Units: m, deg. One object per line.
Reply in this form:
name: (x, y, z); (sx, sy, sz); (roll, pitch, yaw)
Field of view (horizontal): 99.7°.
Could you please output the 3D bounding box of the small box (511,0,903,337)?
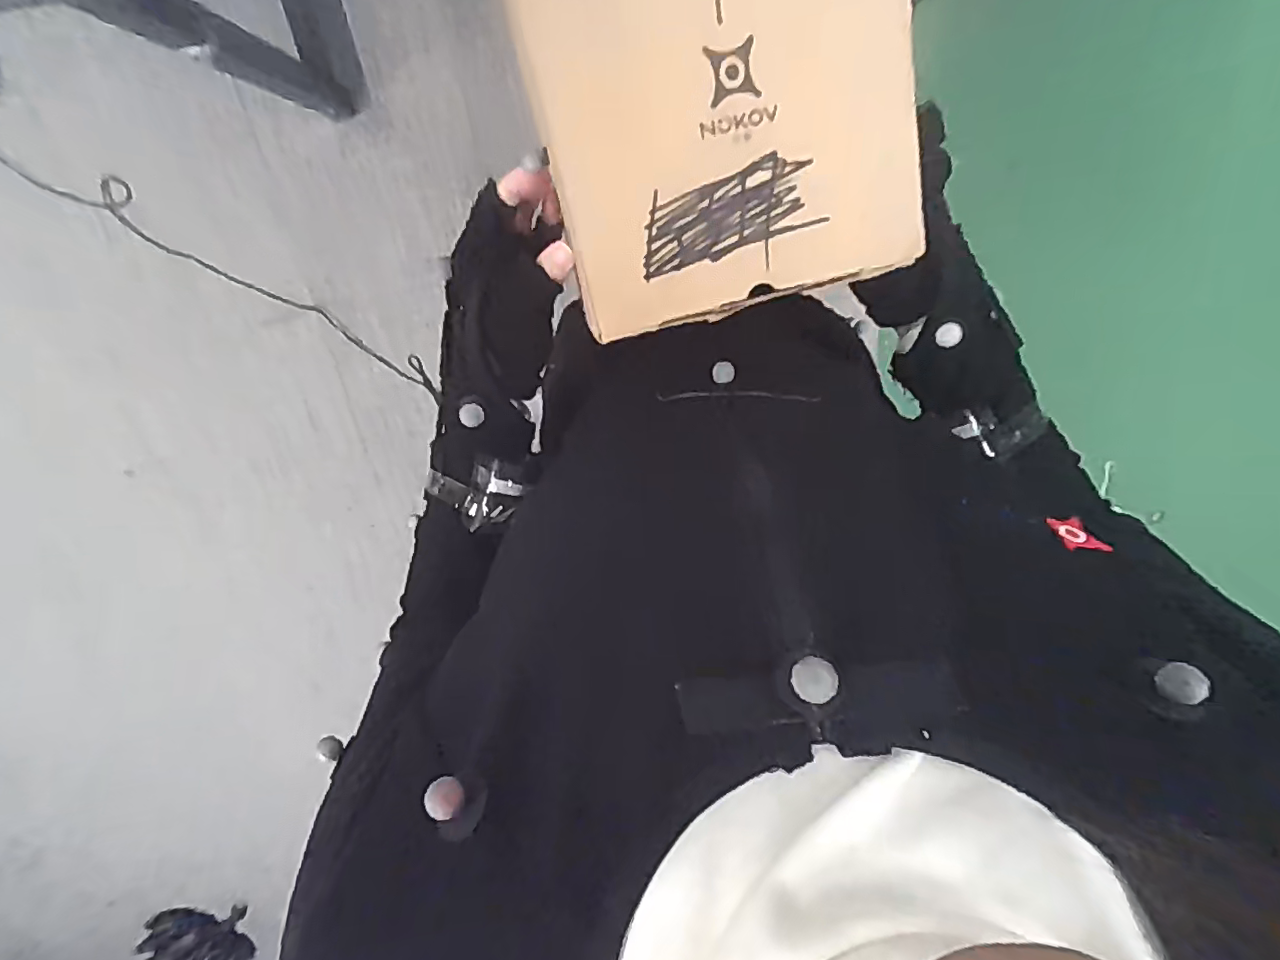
small box: (0.029, -0.194, 0.319); (0.168, 0.176, 0.179); (-14, 109, -3)
